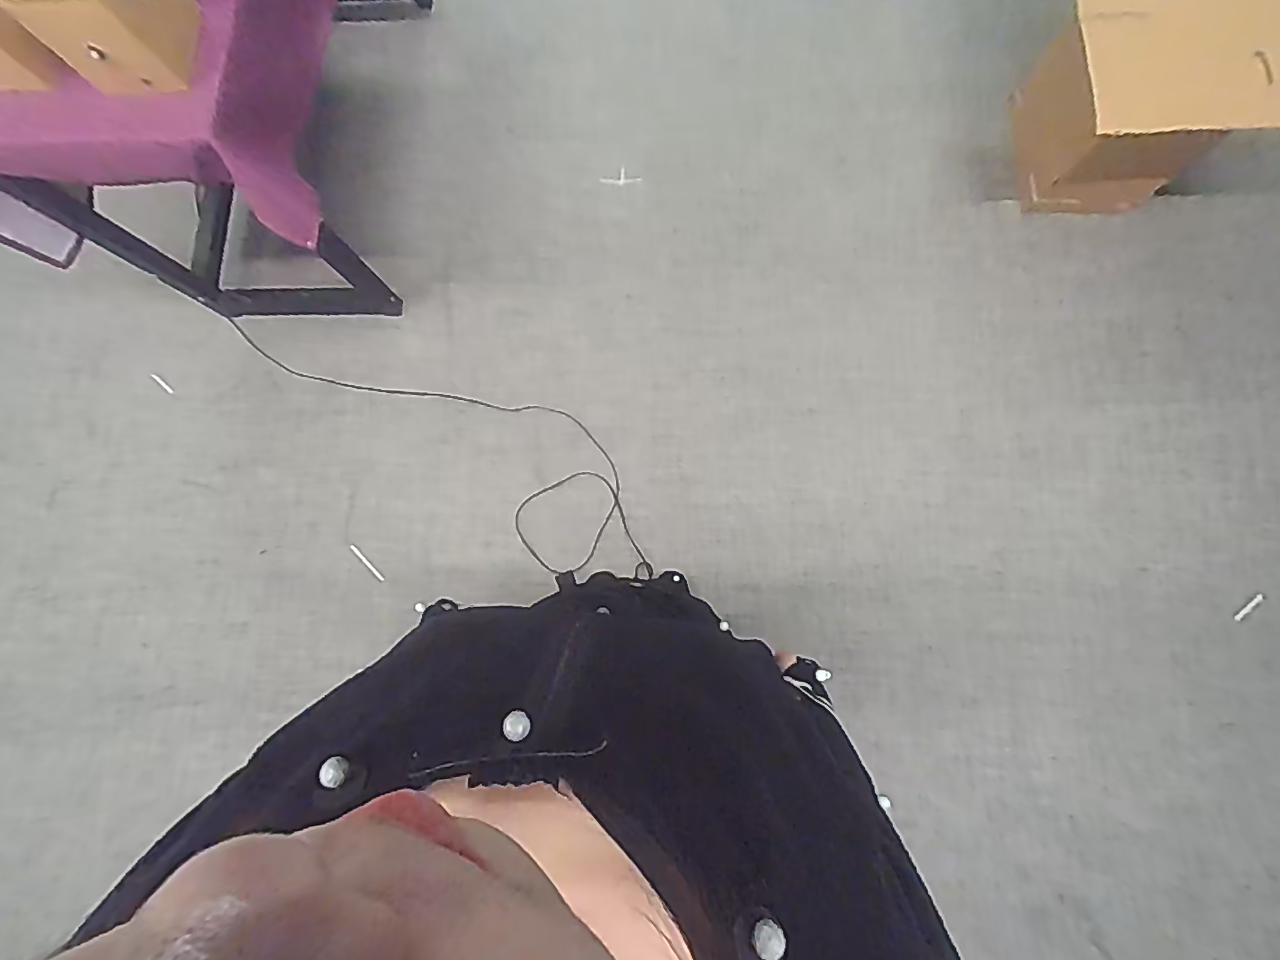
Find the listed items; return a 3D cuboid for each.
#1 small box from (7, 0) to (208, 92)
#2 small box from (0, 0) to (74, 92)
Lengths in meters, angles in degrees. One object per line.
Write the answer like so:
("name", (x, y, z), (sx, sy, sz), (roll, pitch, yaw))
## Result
("small box", (-0.882, -0.795, 0.914), (0.168, 0.176, 0.179), (1, 80, 3))
("small box", (-1.140, -0.807, 0.931), (0.179, 0.176, 0.168), (2, 80, 4))
